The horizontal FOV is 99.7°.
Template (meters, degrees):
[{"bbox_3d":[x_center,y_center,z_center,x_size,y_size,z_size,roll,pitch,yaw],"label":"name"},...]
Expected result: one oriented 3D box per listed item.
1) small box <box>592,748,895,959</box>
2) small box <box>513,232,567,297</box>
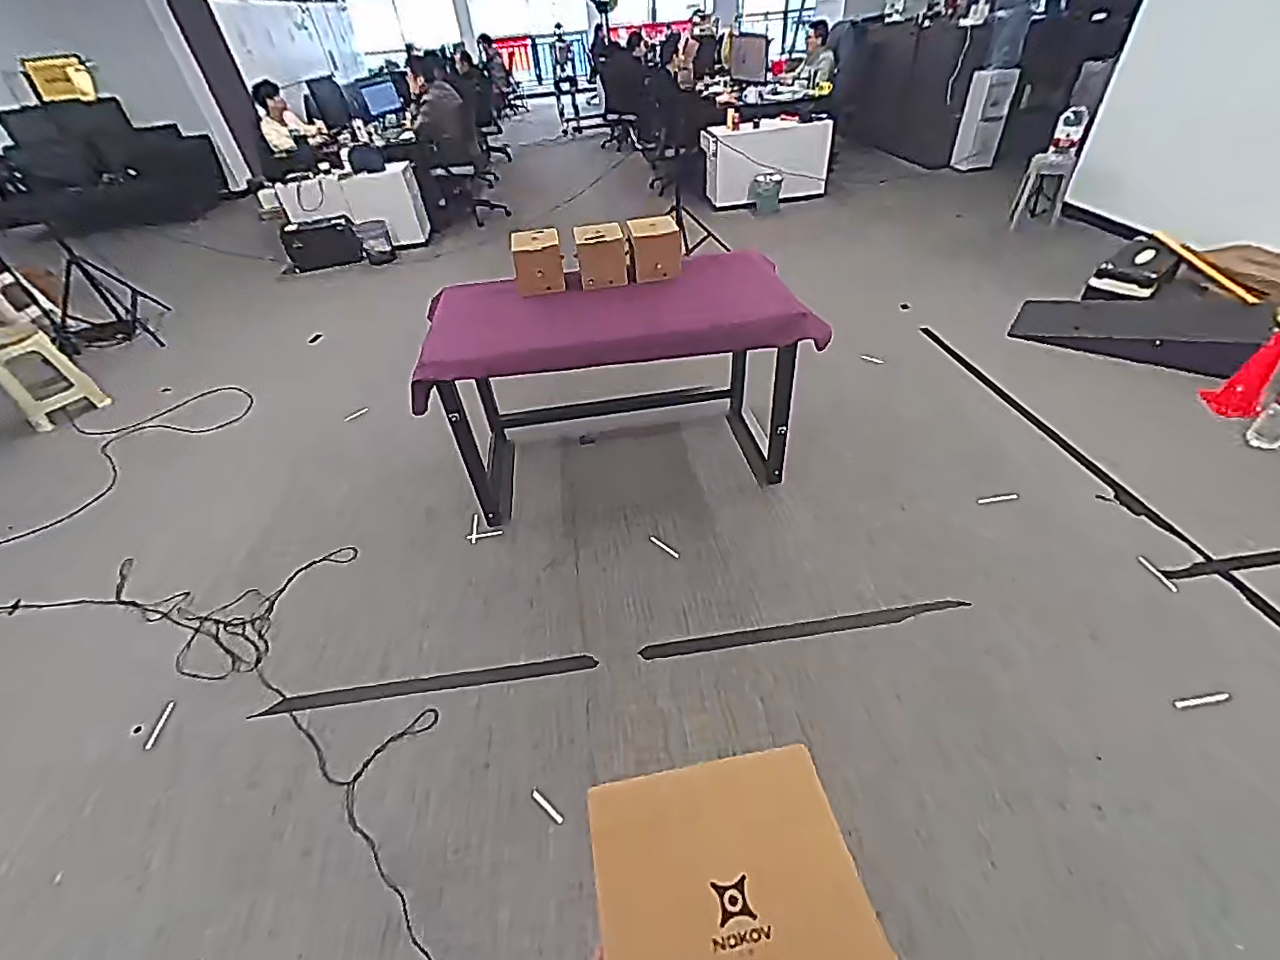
[{"bbox_3d":[0.061,0.326,0.378,0.168,0.176,0.179,-8,39,-8],"label":"small box"},{"bbox_3d":[-0.363,-0.777,1.967,0.168,0.176,0.179,-9,44,-4],"label":"small box"}]
